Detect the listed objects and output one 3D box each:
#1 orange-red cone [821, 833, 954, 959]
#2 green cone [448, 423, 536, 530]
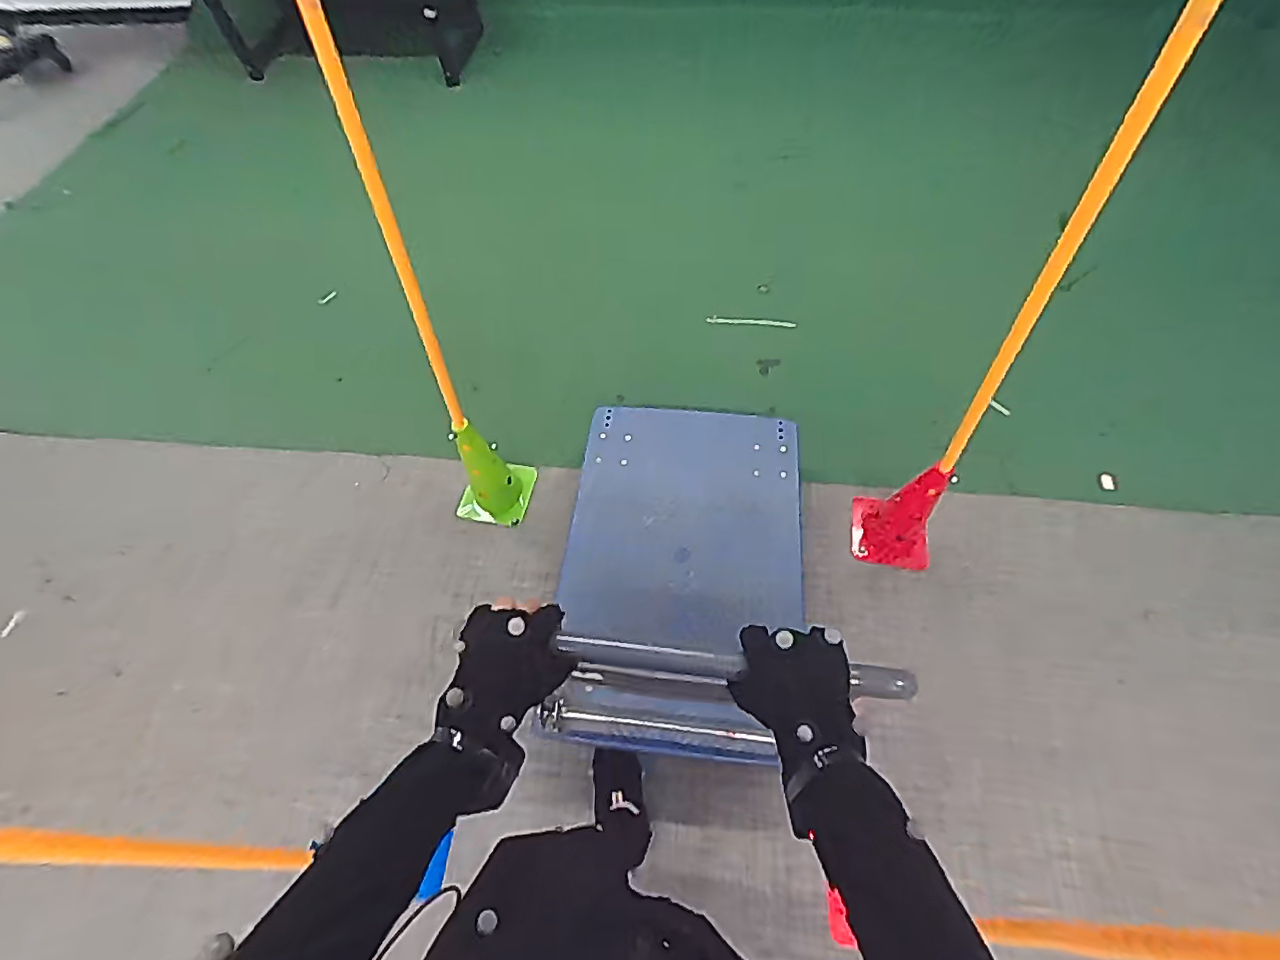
[{"bbox_3d":[0.472,0.772,0.979,0.199,0.360,0.198,3,59,6],"label":"orange-red cone"},{"bbox_3d":[-0.439,-0.036,1.487,0.202,0.368,0.200,8,60,8],"label":"green cone"}]
